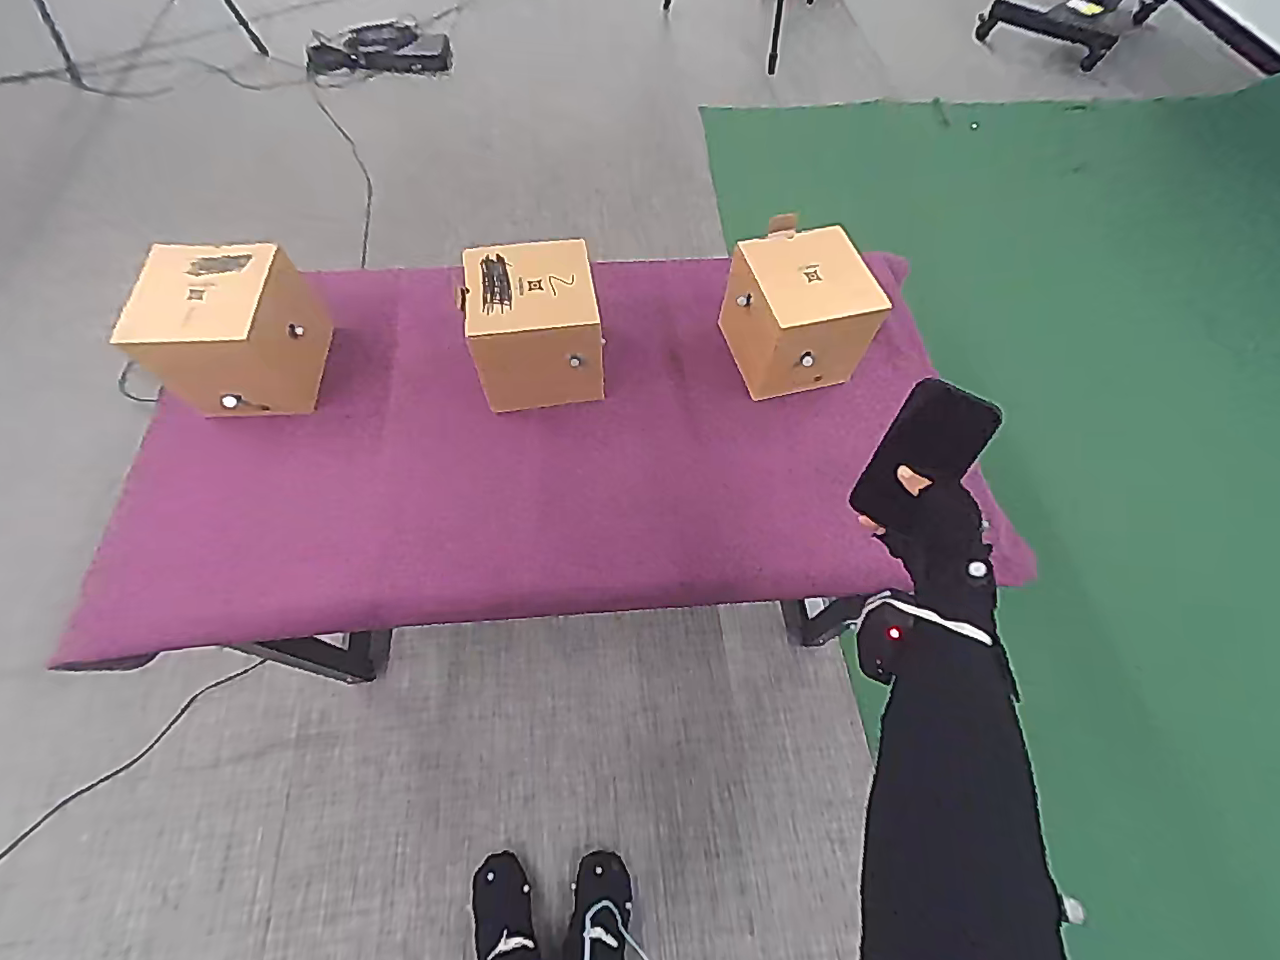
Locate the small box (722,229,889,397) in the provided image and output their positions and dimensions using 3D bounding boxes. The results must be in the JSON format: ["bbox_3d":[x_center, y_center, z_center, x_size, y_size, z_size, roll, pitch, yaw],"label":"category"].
[{"bbox_3d":[0.238,-0.245,0.827,0.168,0.176,0.179,-12,63,-8],"label":"small box"}]

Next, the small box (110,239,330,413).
[{"bbox_3d":[-0.574,-0.215,0.772,0.168,0.176,0.179,-2,64,-4],"label":"small box"}]
